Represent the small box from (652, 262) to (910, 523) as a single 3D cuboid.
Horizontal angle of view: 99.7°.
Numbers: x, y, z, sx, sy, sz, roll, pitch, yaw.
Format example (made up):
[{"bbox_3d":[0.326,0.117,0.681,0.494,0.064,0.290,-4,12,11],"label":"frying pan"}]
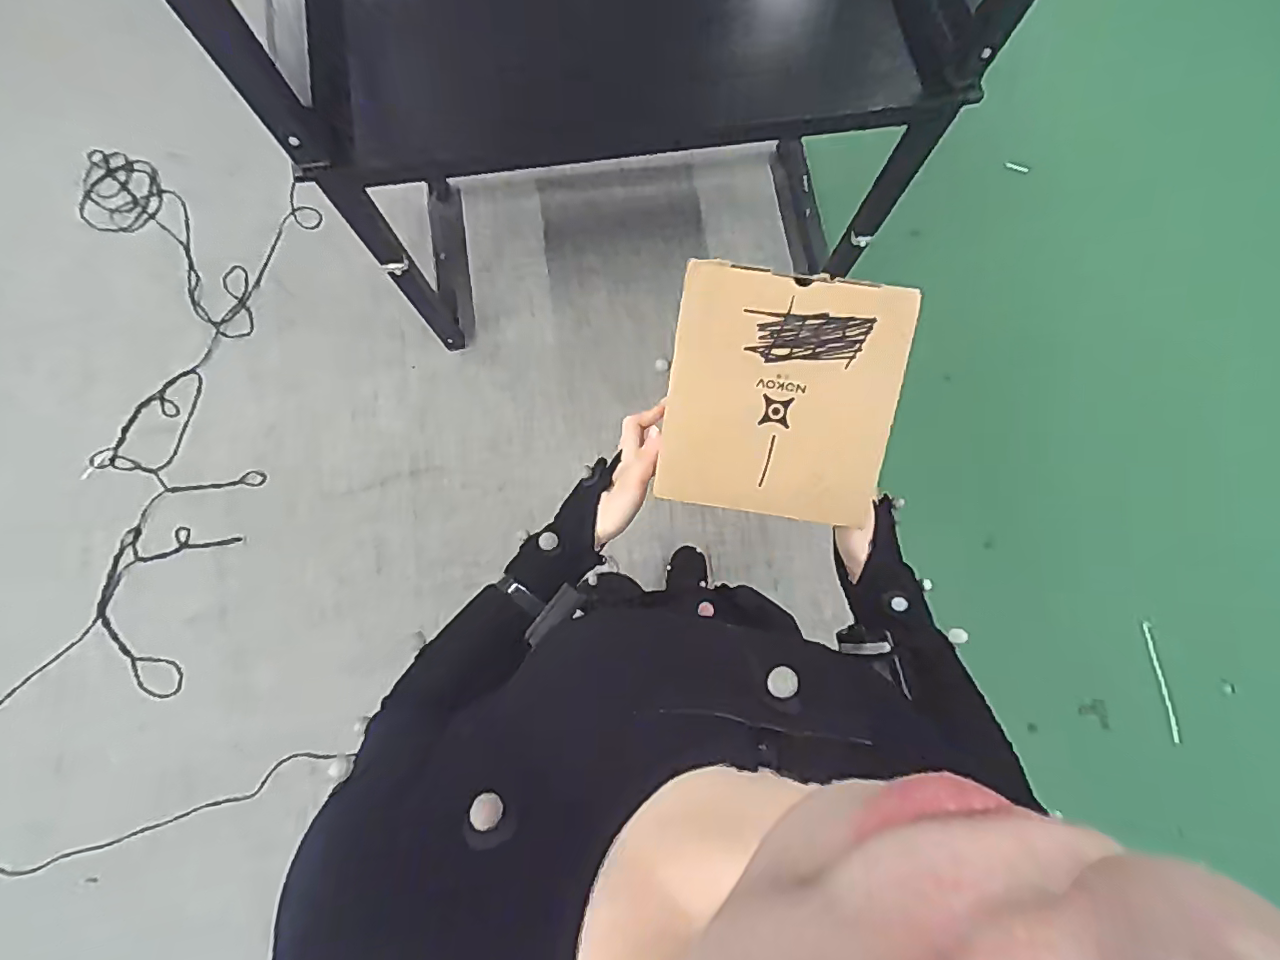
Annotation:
[{"bbox_3d":[0.106,-0.079,0.483,0.168,0.176,0.179,9,104,2],"label":"small box"}]
